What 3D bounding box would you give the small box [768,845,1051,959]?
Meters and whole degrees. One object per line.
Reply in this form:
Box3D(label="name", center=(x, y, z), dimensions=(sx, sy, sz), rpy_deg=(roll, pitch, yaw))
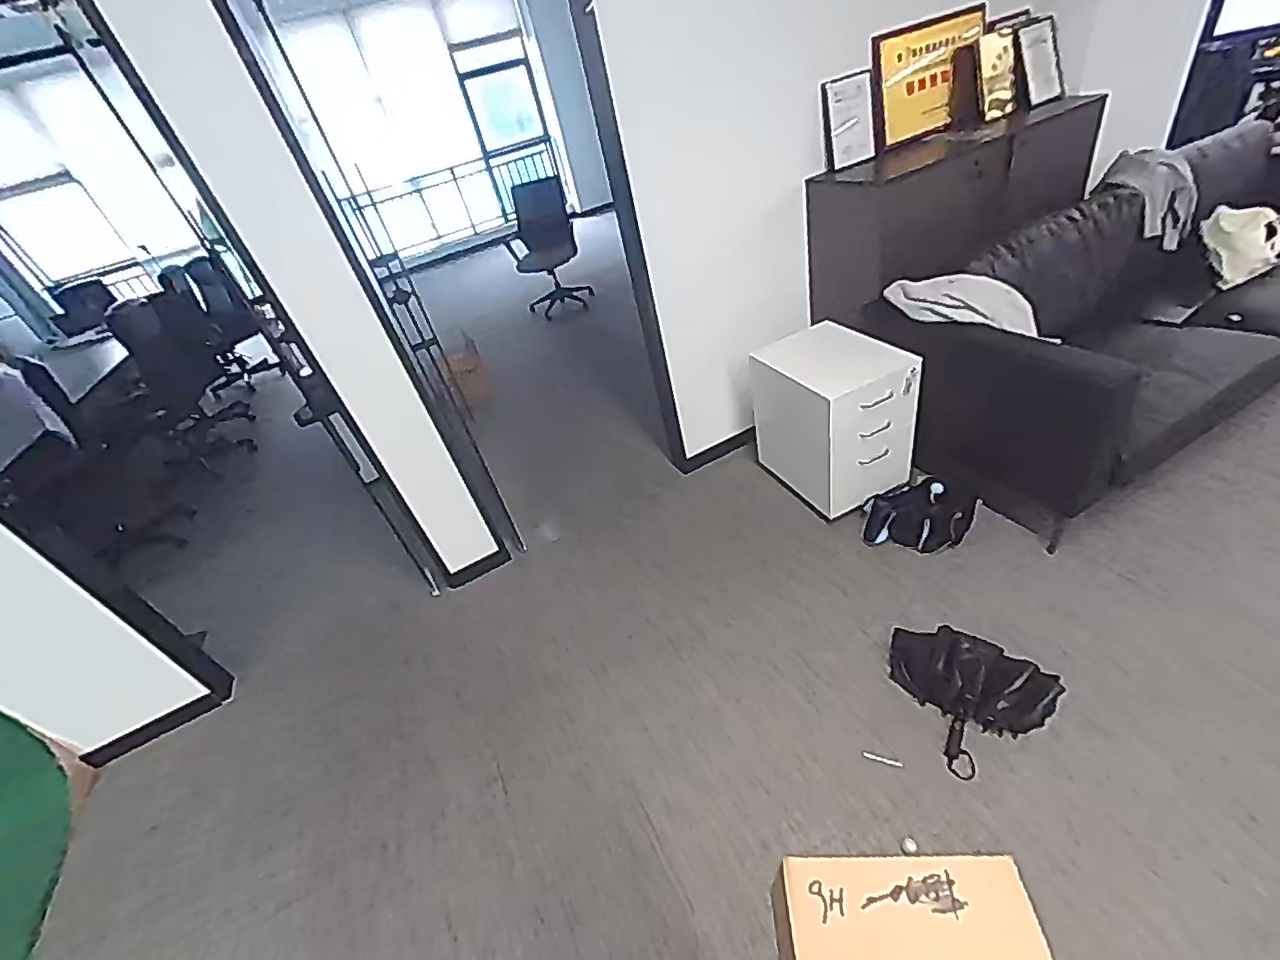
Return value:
Box3D(label="small box", center=(0.191, 0.385, 0.394), dimensions=(0.168, 0.176, 0.179), rpy_deg=(-4, 46, 5))
